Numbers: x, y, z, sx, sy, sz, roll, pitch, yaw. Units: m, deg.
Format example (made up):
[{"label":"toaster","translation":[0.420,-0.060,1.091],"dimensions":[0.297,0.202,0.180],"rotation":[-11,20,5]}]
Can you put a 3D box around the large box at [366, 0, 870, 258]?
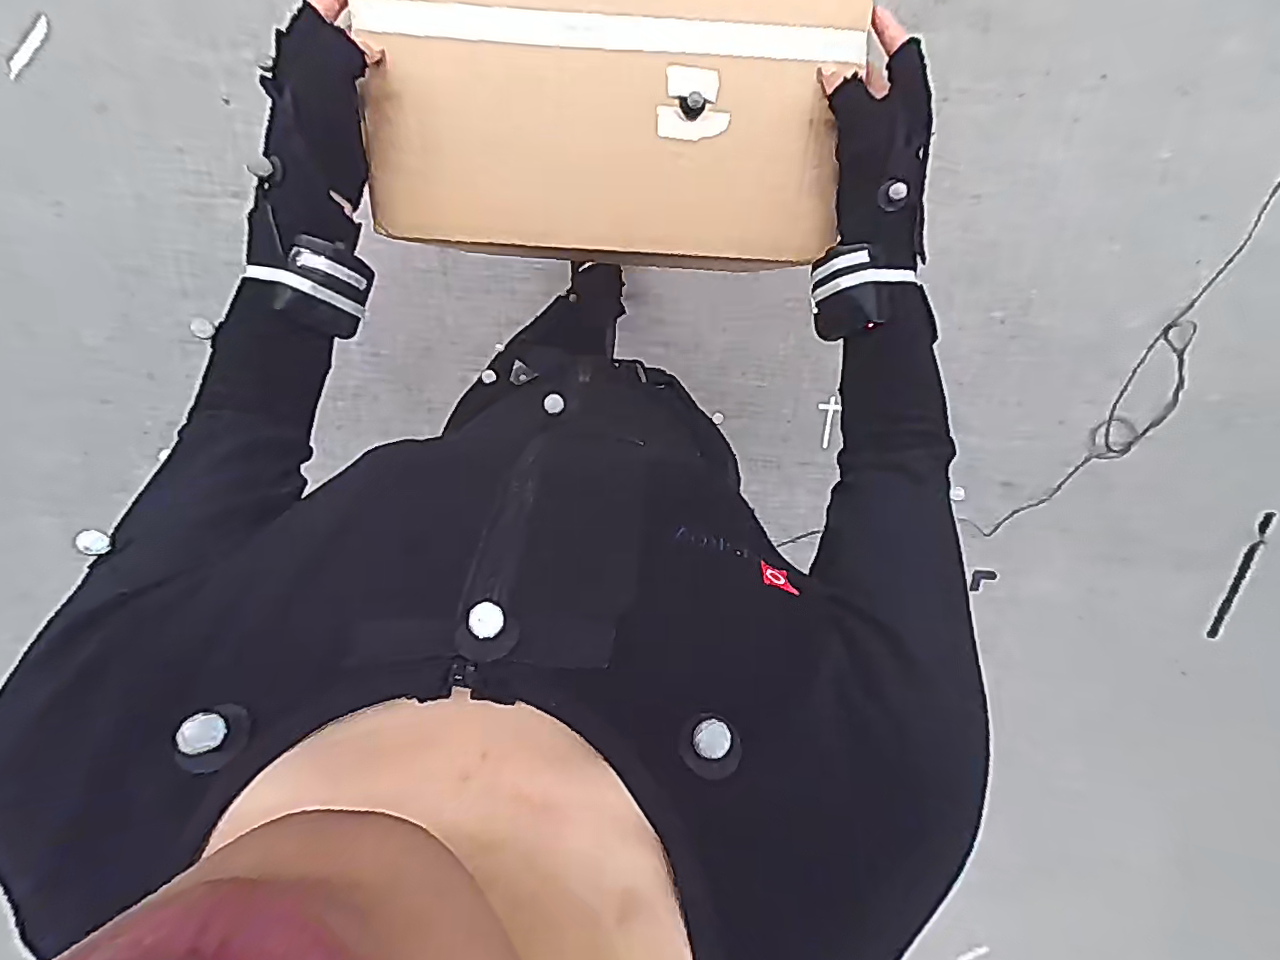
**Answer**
[{"label":"large box","translation":[-0.022,-0.413,0.569],"dimensions":[0.408,0.320,0.320],"rotation":[2,111,-2]}]
